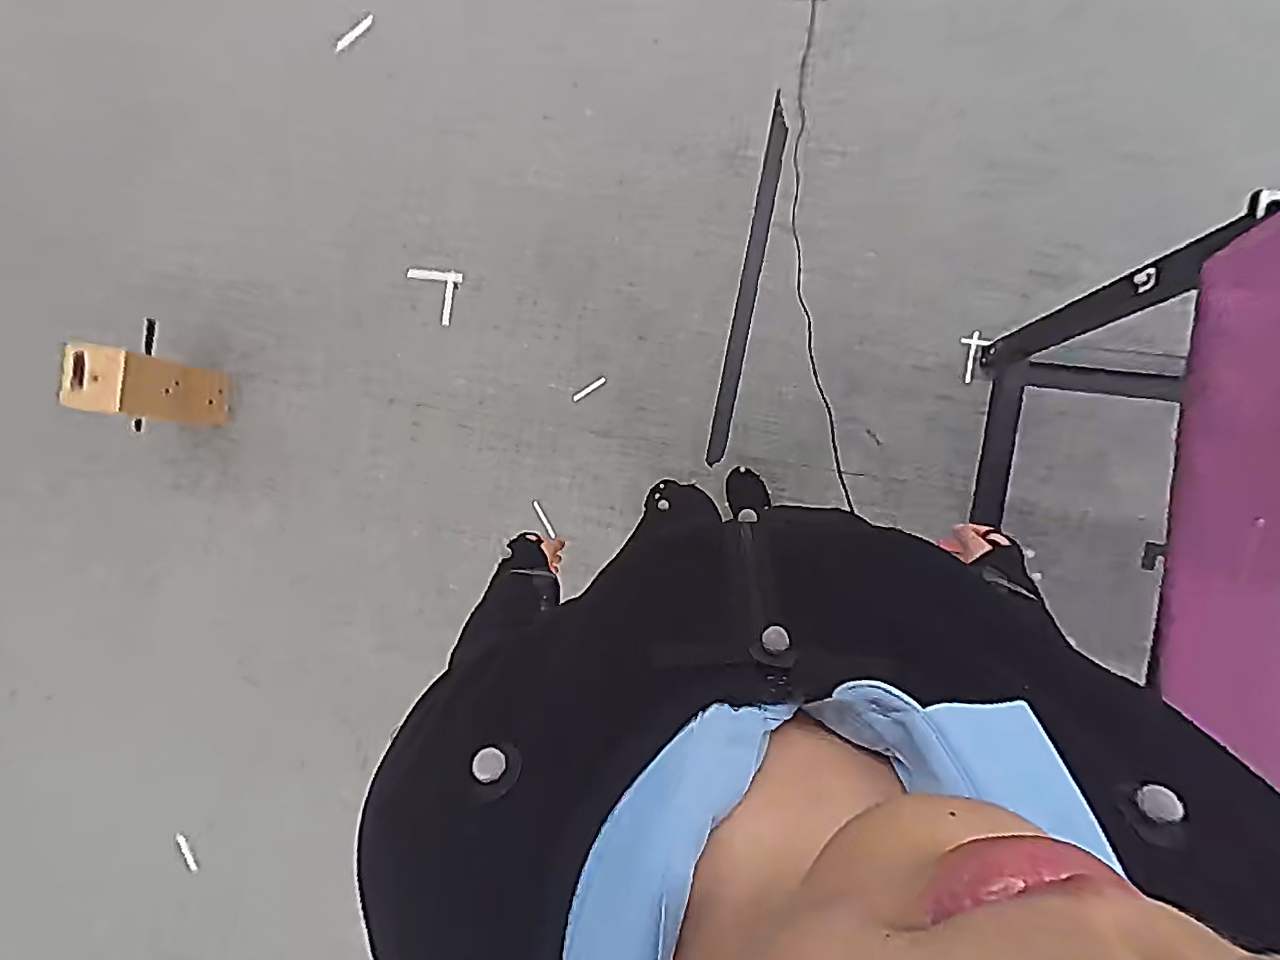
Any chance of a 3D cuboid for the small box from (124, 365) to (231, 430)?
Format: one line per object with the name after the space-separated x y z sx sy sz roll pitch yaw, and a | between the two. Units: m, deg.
-1.384 -0.244 1.626 0.179 0.176 0.168 4 91 7 | small box
